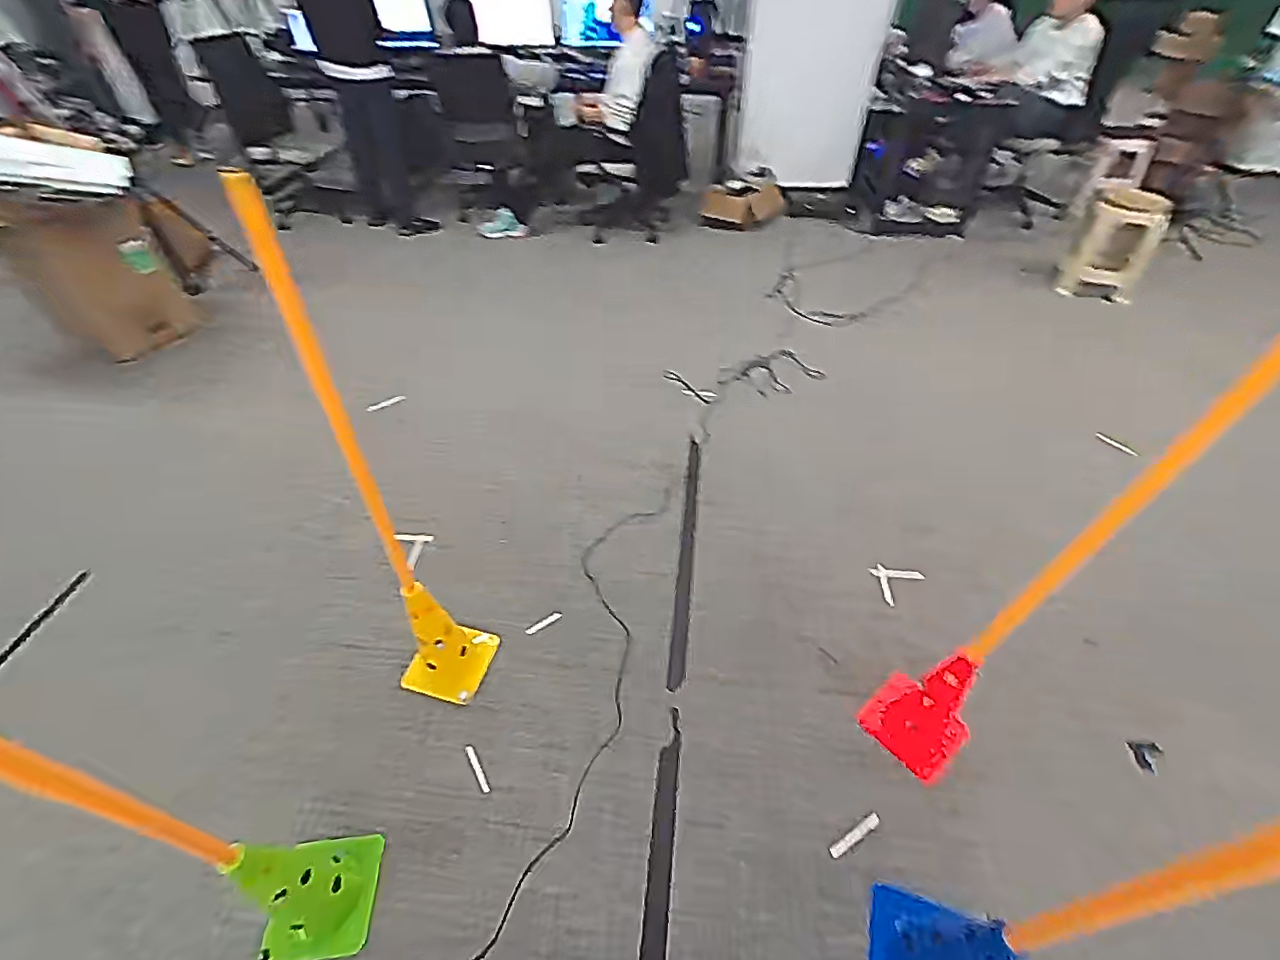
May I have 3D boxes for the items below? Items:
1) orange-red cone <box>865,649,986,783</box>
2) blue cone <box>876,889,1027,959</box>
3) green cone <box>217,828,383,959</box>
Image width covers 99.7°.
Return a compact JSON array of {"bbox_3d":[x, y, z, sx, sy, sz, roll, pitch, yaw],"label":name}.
[{"bbox_3d":[0.671,0.477,1.191,0.199,0.360,0.198,-29,50,-24],"label":"orange-red cone"},{"bbox_3d":[0.538,0.782,0.898,0.193,0.380,0.192,15,46,16],"label":"blue cone"},{"bbox_3d":[-0.639,0.706,0.970,0.200,0.368,0.202,-5,43,-4],"label":"green cone"}]
